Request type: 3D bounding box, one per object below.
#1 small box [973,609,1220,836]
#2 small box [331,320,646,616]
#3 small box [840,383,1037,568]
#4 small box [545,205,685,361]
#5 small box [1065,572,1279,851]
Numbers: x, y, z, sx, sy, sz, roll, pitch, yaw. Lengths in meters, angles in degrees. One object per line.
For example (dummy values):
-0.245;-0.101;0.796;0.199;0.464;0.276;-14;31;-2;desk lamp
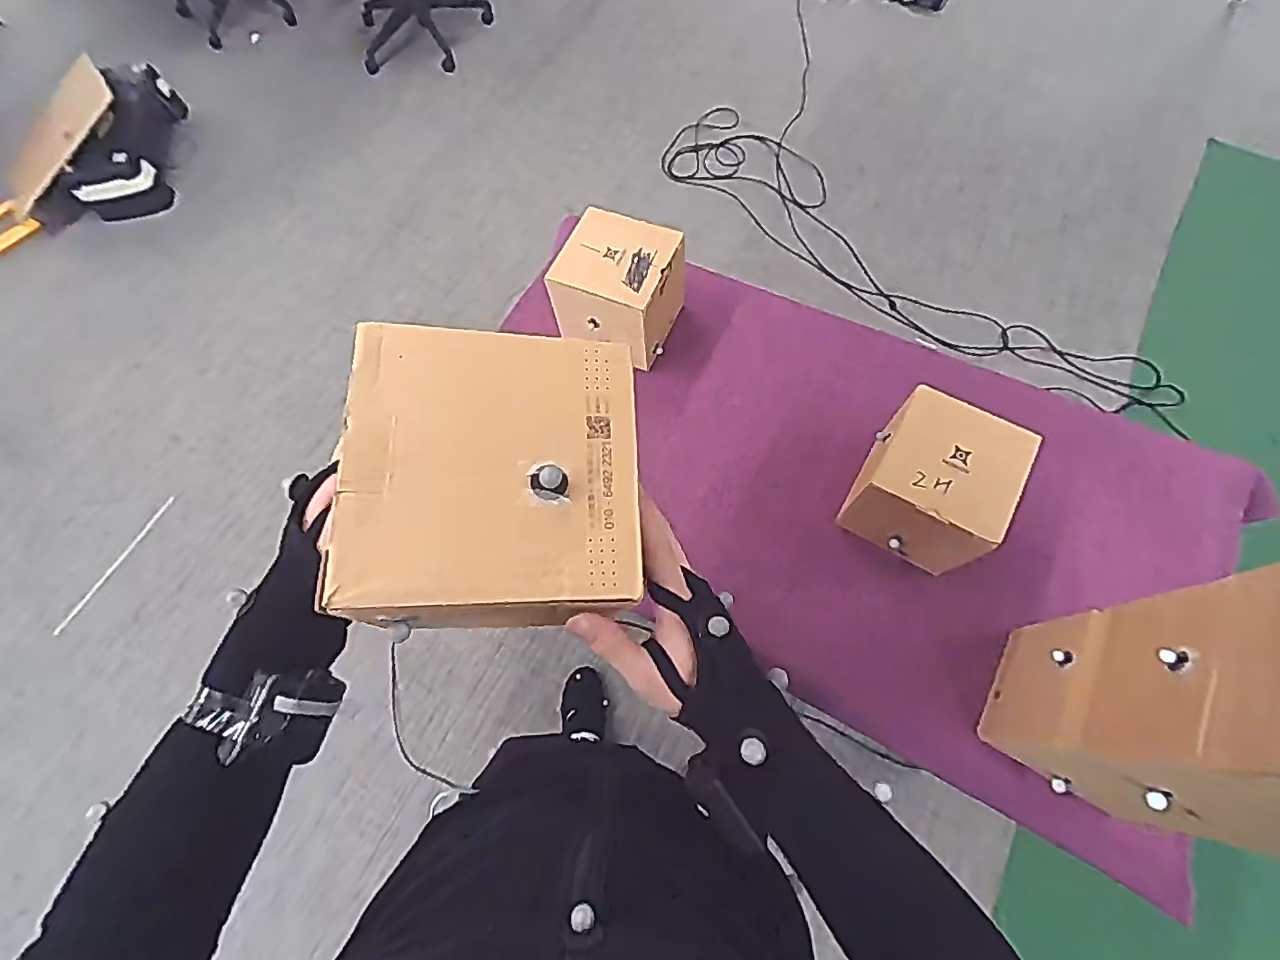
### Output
0.555;0.281;0.656;0.179;0.176;0.168;29;71;14;small box
-0.096;0.011;0.391;0.176;0.179;0.168;2;72;-14;small box
0.412;0.001;0.777;0.168;0.176;0.179;30;73;14;small box
-0.034;-0.328;0.930;0.179;0.176;0.168;22;71;12;small box
0.550;0.217;0.506;0.168;0.176;0.179;29;72;15;small box
